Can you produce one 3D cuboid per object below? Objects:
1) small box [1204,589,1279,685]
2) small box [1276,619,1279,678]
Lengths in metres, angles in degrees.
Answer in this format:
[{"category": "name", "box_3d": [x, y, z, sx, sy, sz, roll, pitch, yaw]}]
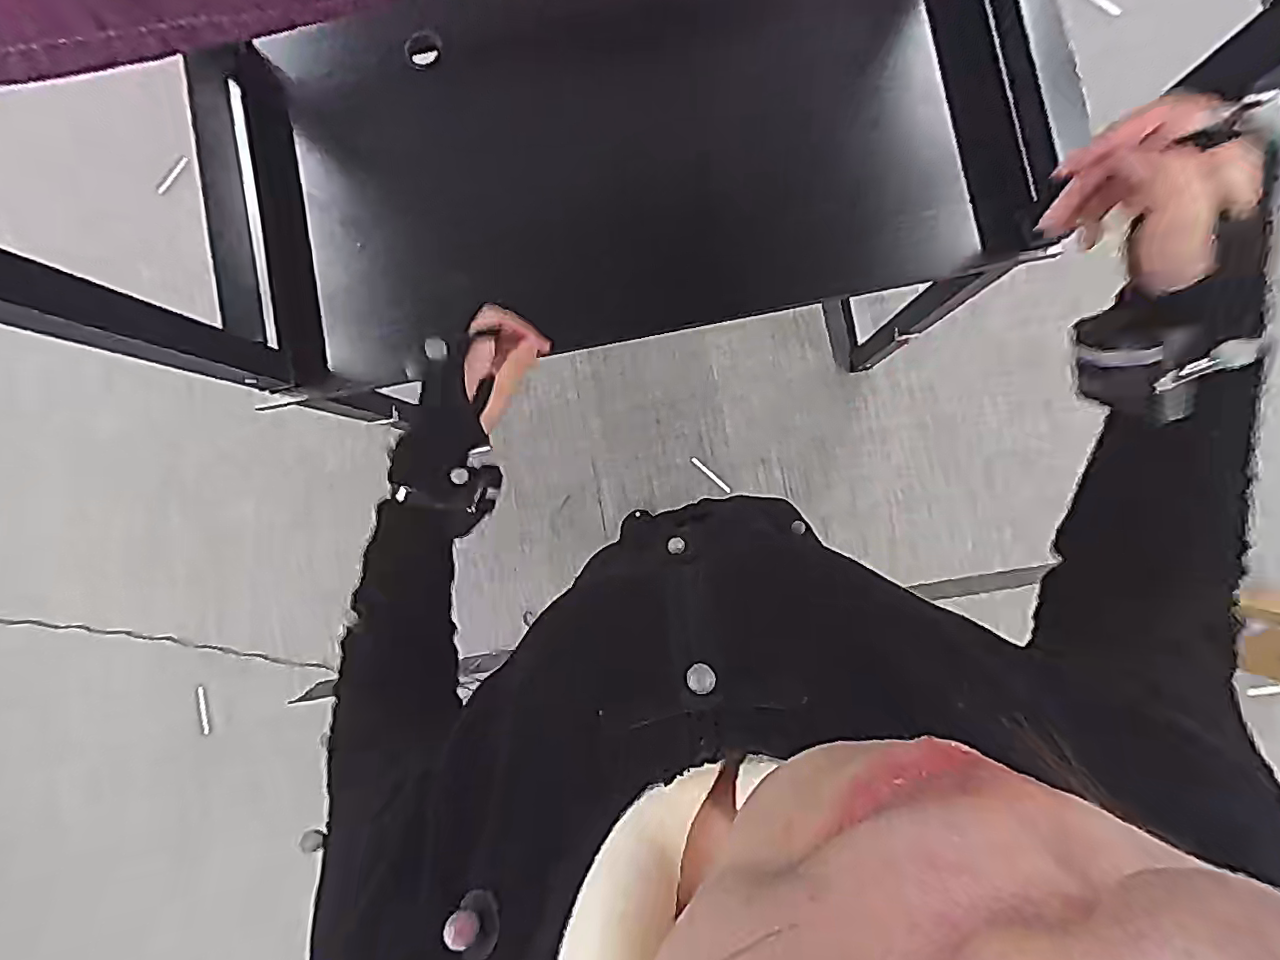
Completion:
[{"category": "small box", "box_3d": [1.548, 0.377, 1.319, 0.168, 0.176, 0.179, -9, 89, 3]}, {"category": "small box", "box_3d": [1.533, 0.378, 1.154, 0.179, 0.176, 0.168, -4, 88, 3]}]
